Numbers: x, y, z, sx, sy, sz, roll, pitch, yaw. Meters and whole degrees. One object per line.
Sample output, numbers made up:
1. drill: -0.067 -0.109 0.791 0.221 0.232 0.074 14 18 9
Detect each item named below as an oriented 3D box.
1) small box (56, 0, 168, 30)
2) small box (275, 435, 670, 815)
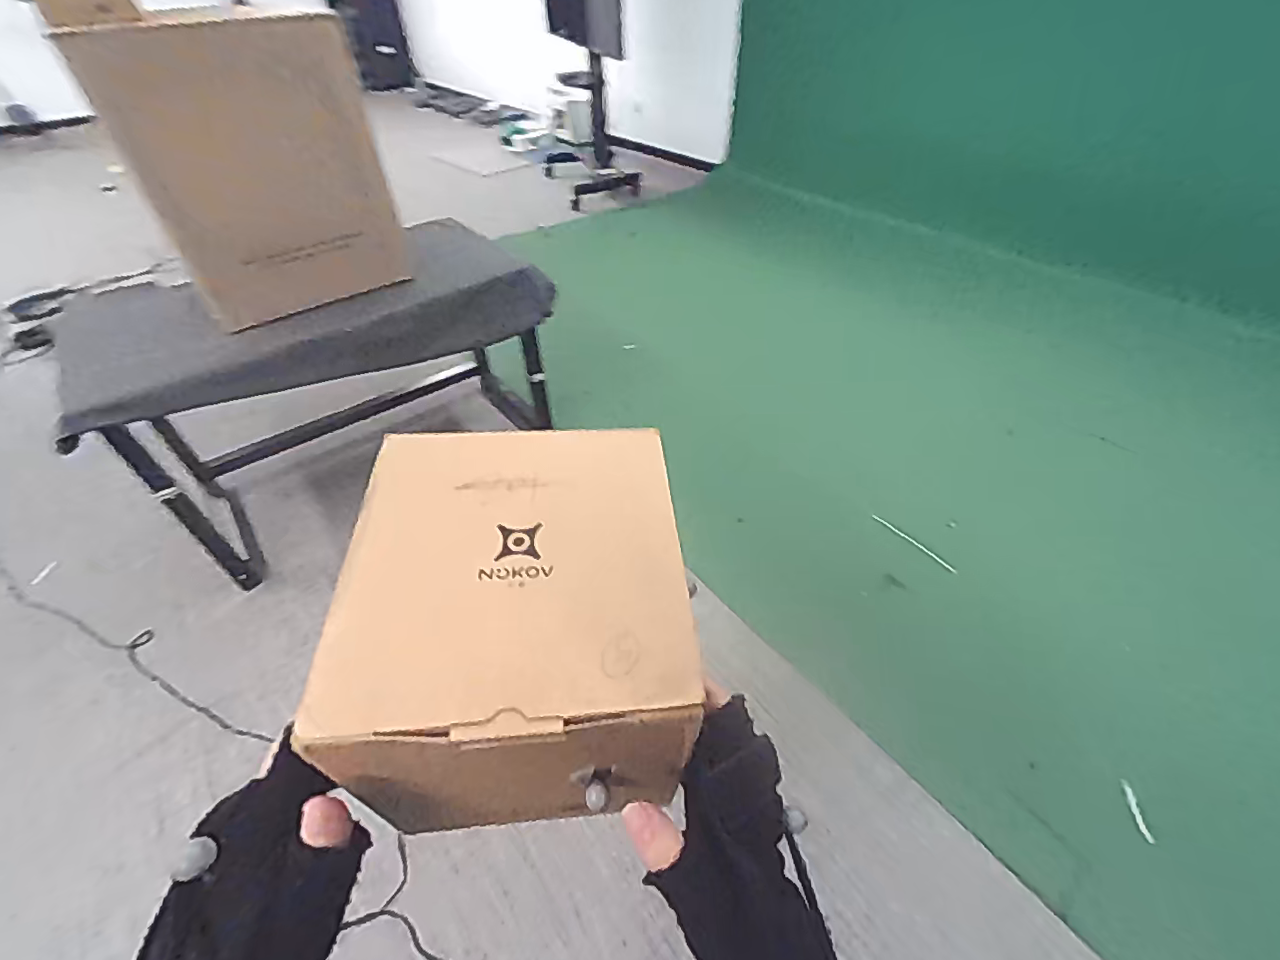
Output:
1. small box: -1.068 -0.996 1.053 0.168 0.176 0.179 -30 53 -26
2. small box: -0.078 0.091 0.337 0.168 0.176 0.179 -1 46 -7
